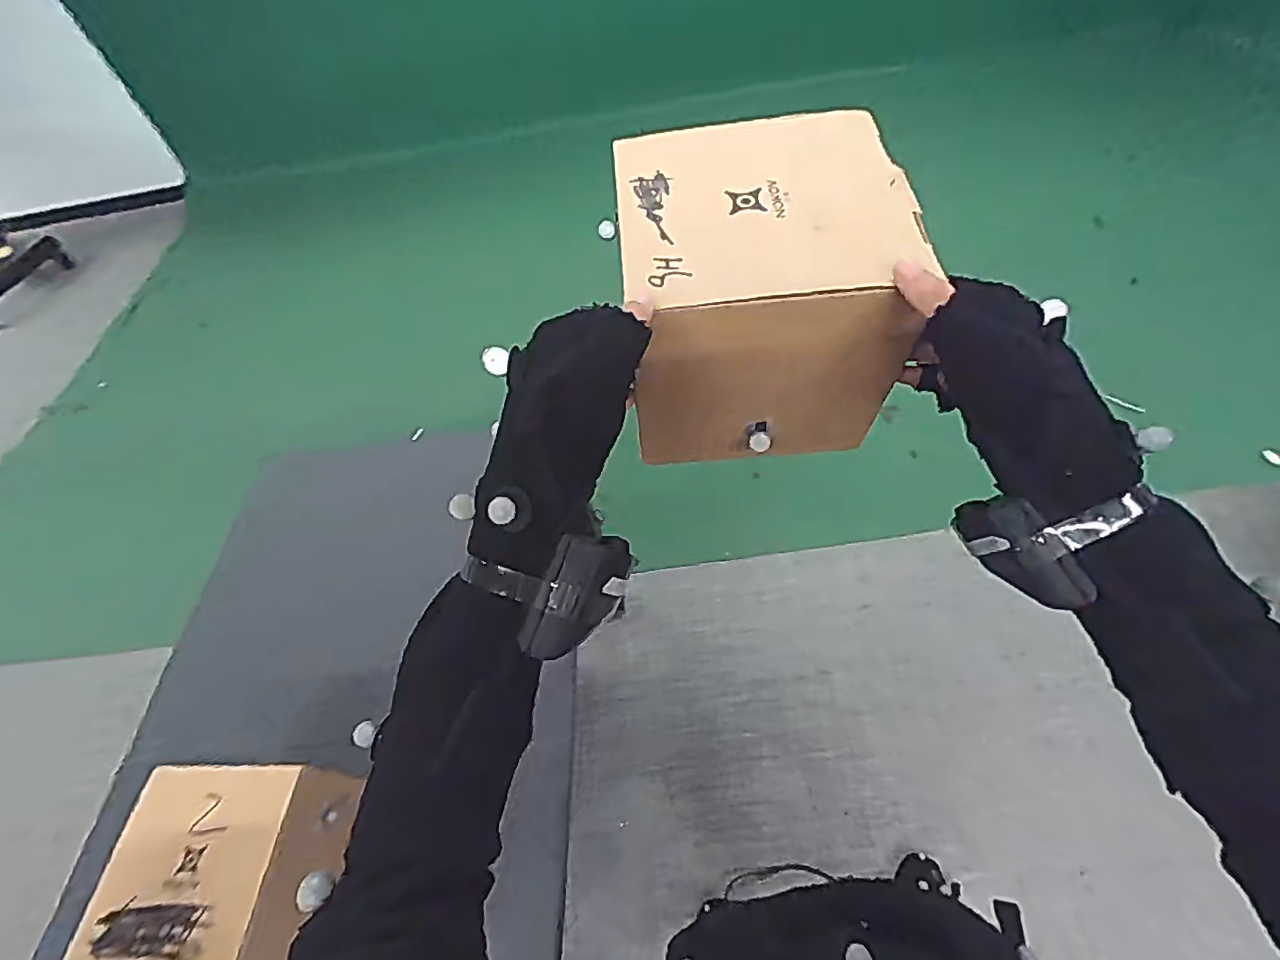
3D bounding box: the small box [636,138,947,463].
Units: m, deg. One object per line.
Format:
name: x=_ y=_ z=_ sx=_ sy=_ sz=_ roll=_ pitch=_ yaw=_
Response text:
small box: x=0.088 y=-0.126 z=0.412 sx=0.179 sy=0.176 sz=0.168 roll=-3 pitch=60 yaw=1
